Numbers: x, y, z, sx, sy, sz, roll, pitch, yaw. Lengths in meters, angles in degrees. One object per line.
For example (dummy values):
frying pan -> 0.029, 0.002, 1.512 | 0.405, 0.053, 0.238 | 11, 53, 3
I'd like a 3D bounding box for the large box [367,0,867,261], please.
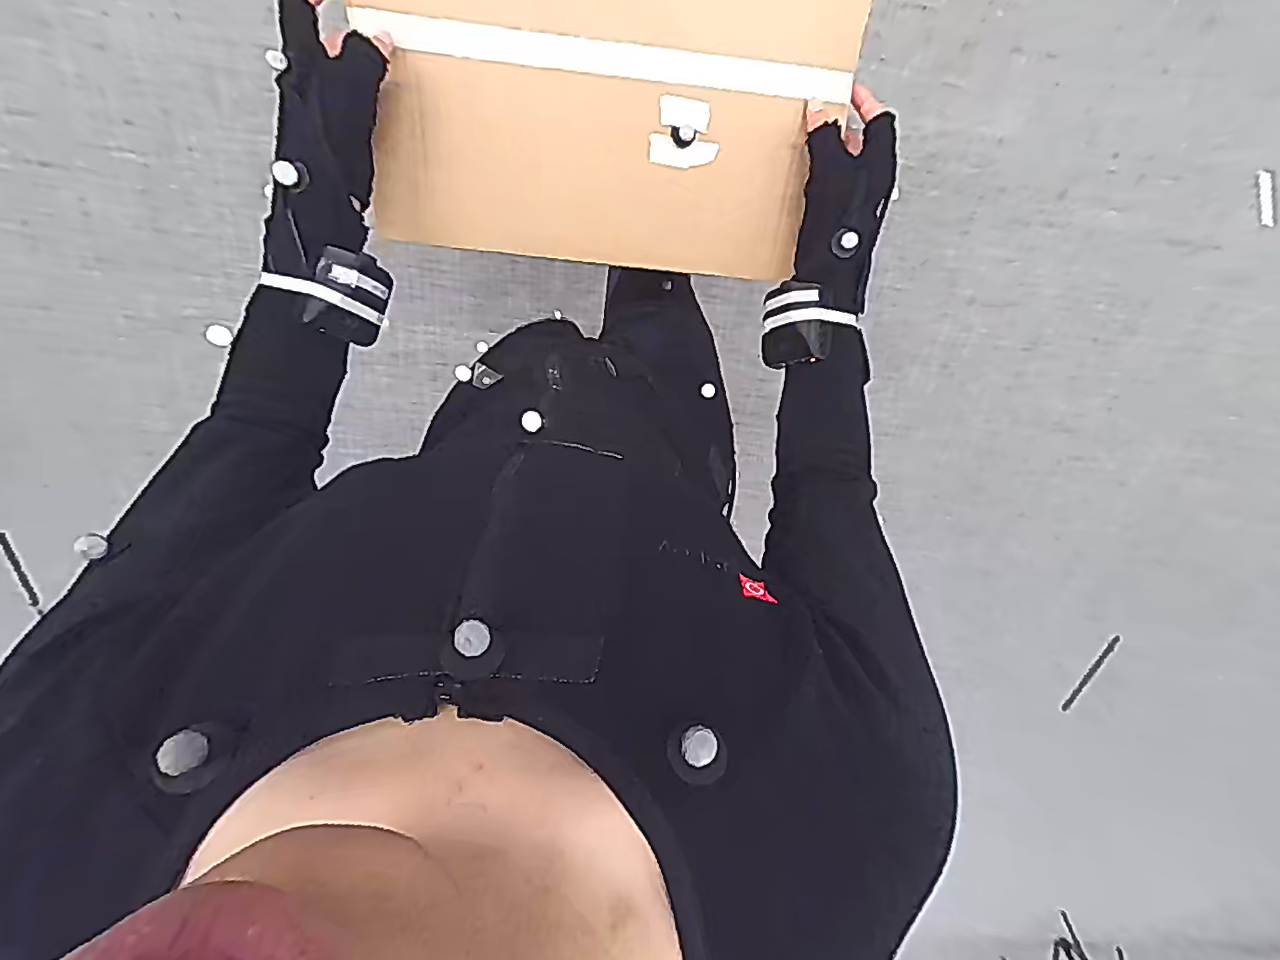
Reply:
large box -> -0.027, -0.432, 0.571 | 0.408, 0.320, 0.320 | 4, 121, -5
